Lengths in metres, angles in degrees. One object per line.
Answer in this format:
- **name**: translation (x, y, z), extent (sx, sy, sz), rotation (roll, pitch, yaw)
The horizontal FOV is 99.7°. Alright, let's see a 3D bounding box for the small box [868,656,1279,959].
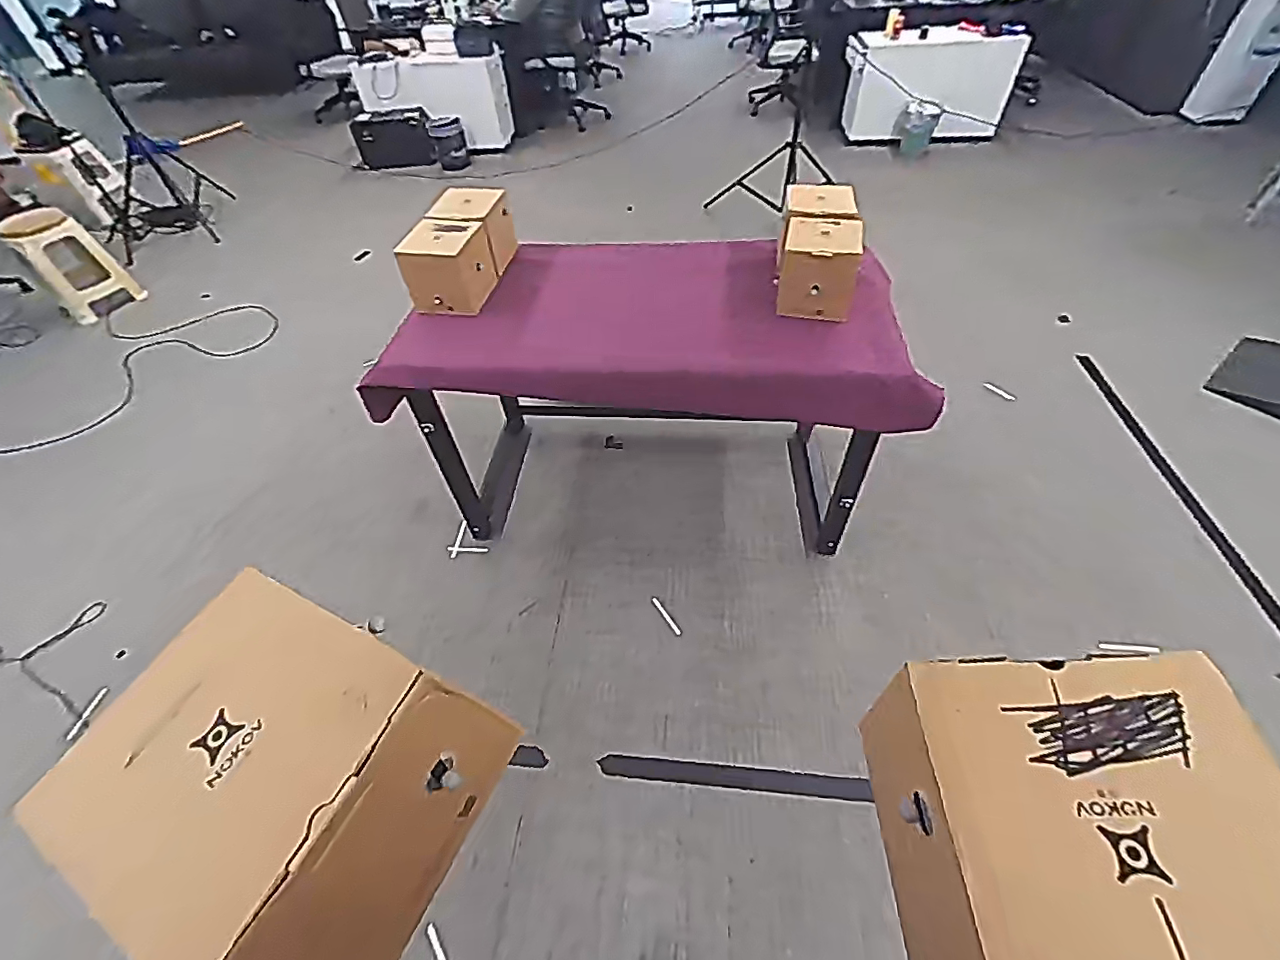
- **small box**: translation (0.255, 0.224, 0.335), extent (0.168, 0.176, 0.179), rotation (-5, 54, 8)

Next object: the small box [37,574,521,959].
- **small box**: translation (-0.211, 0.196, 0.367), extent (0.179, 0.176, 0.168), rotation (17, 59, 24)

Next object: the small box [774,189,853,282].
- **small box**: translation (0.448, -0.644, 1.423), extent (0.168, 0.176, 0.179), rotation (5, 49, 7)

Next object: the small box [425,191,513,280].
- **small box**: translation (-0.466, -0.681, 1.508), extent (0.168, 0.176, 0.179), rotation (5, 50, 8)
